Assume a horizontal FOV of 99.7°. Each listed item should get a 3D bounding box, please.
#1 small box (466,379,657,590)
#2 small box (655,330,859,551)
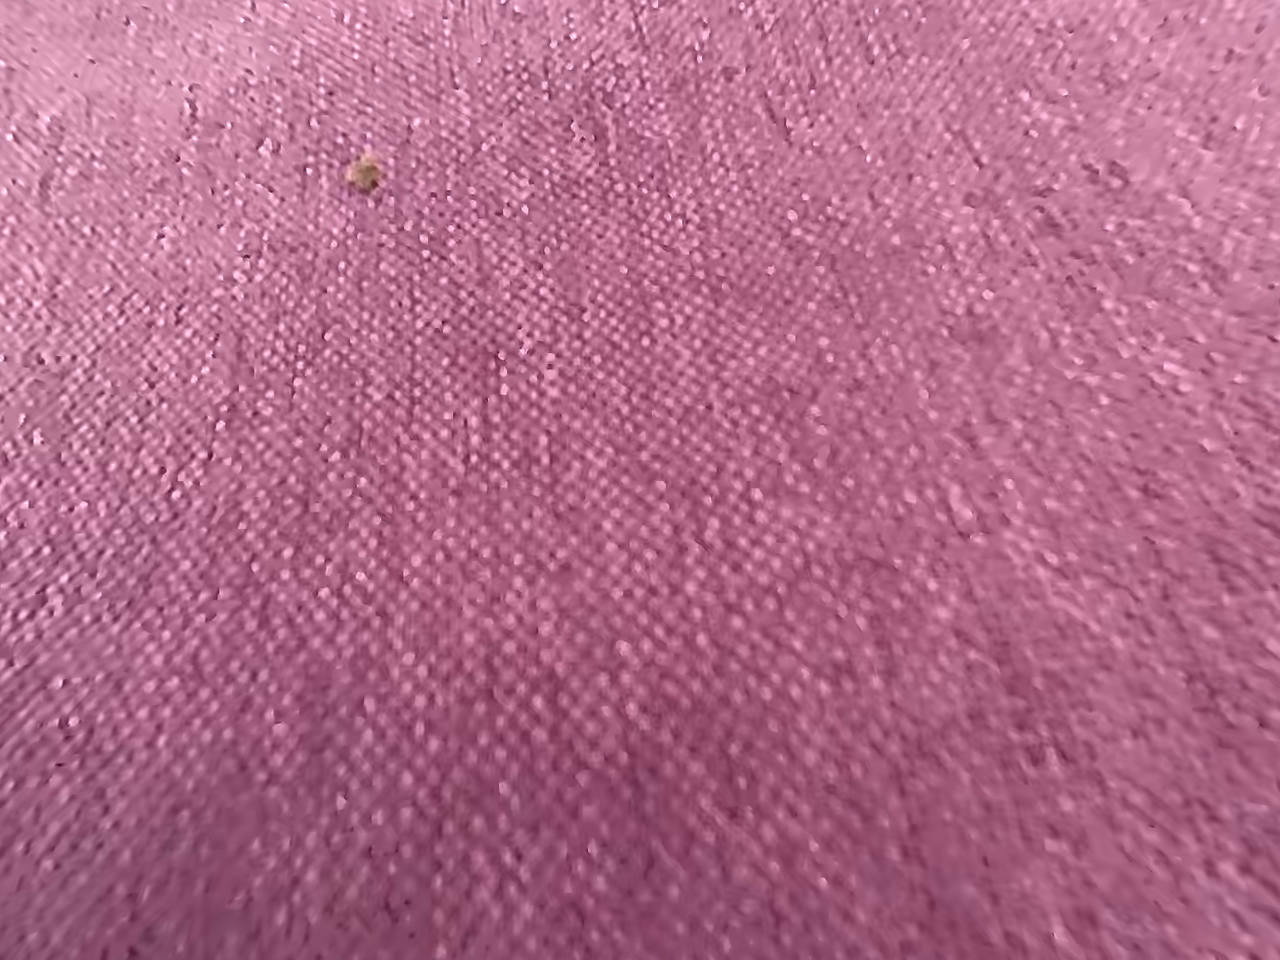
[{"bbox_3d":[-0.082,0.015,0.622,0.168,0.176,0.179,-15,71,1],"label":"small box"},{"bbox_3d":[0.119,-0.035,0.617,0.168,0.176,0.179,-15,69,2],"label":"small box"}]
